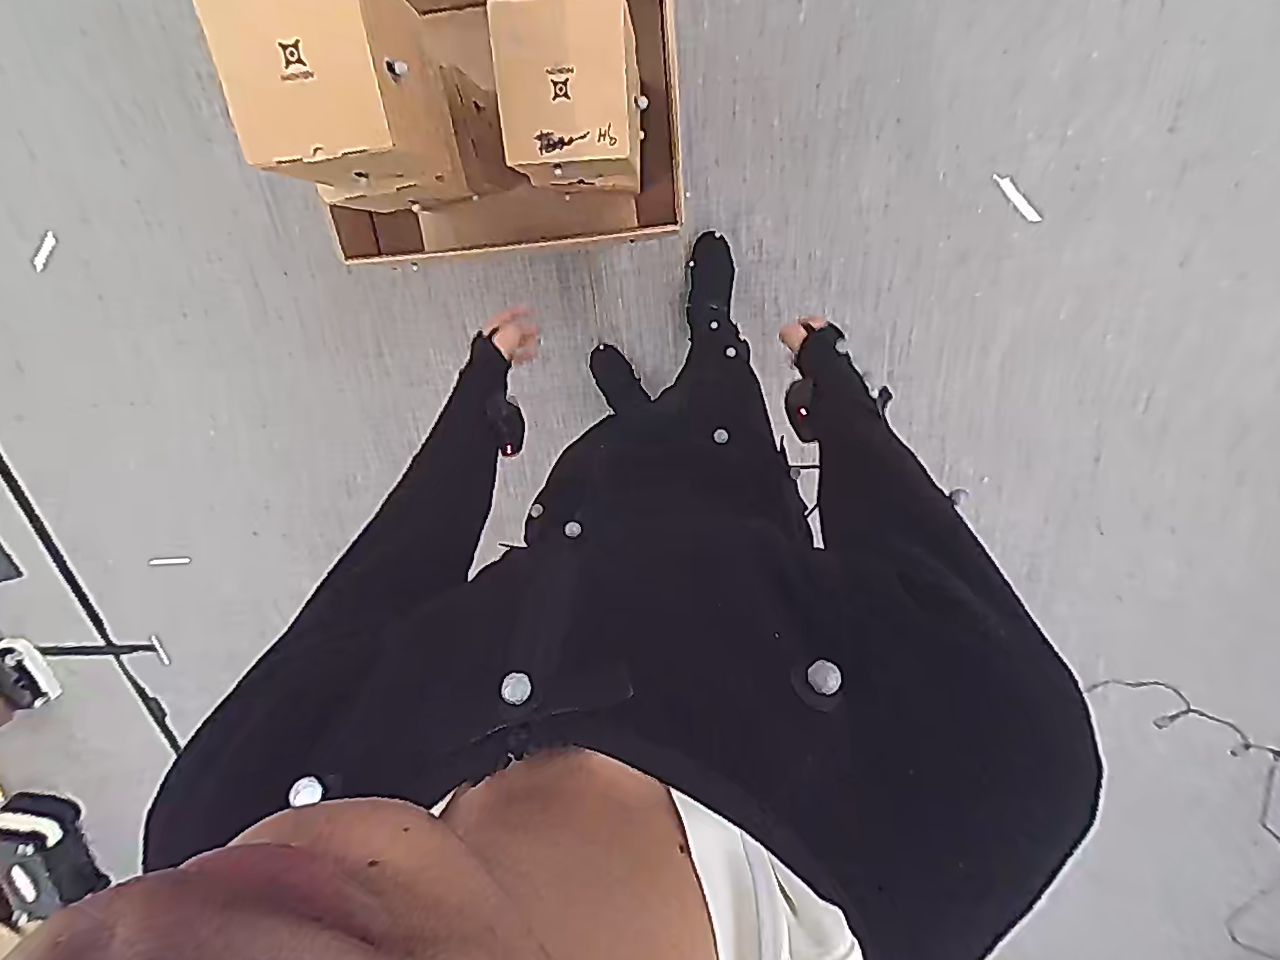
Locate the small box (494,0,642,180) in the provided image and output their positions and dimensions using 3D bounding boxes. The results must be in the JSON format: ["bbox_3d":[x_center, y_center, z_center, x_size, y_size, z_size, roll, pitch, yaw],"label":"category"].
[{"bbox_3d":[-0.086,-0.524,0.739,0.168,0.176,0.179,0,112,5],"label":"small box"}]

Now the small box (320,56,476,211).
[{"bbox_3d":[-0.357,-0.499,0.772,0.168,0.176,0.179,-8,113,6],"label":"small box"}]

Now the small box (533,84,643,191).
[{"bbox_3d":[-0.081,-0.582,0.894,0.168,0.176,0.179,2,114,3],"label":"small box"}]

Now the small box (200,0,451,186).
[{"bbox_3d":[-0.338,-0.451,0.615,0.168,0.176,0.179,-6,113,4],"label":"small box"}]
